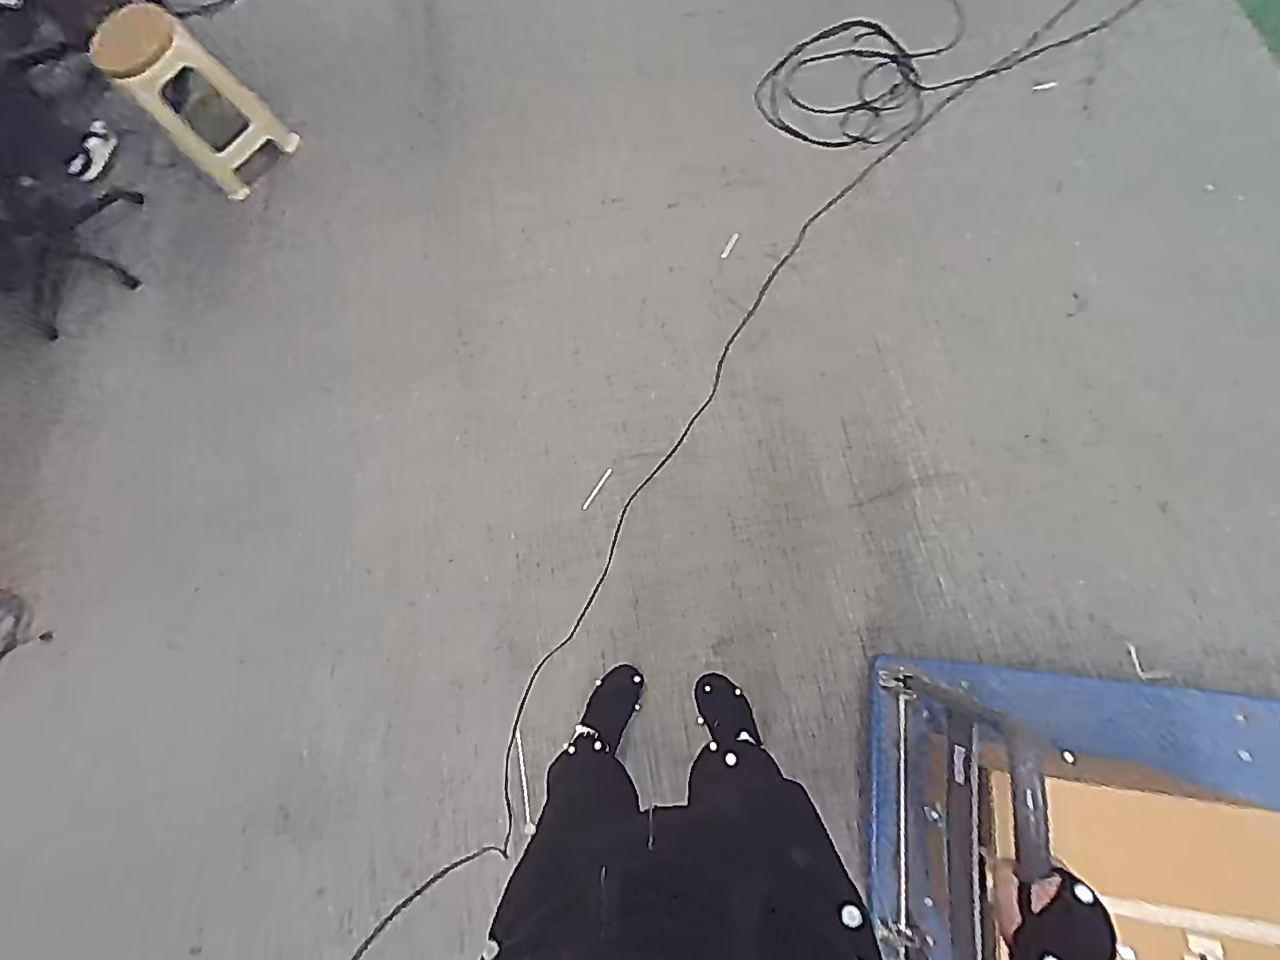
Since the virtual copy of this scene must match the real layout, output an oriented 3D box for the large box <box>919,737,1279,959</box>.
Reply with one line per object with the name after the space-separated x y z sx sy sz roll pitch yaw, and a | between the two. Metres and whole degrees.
0.752 0.659 0.938 0.408 0.320 0.320 4 77 10 | large box
